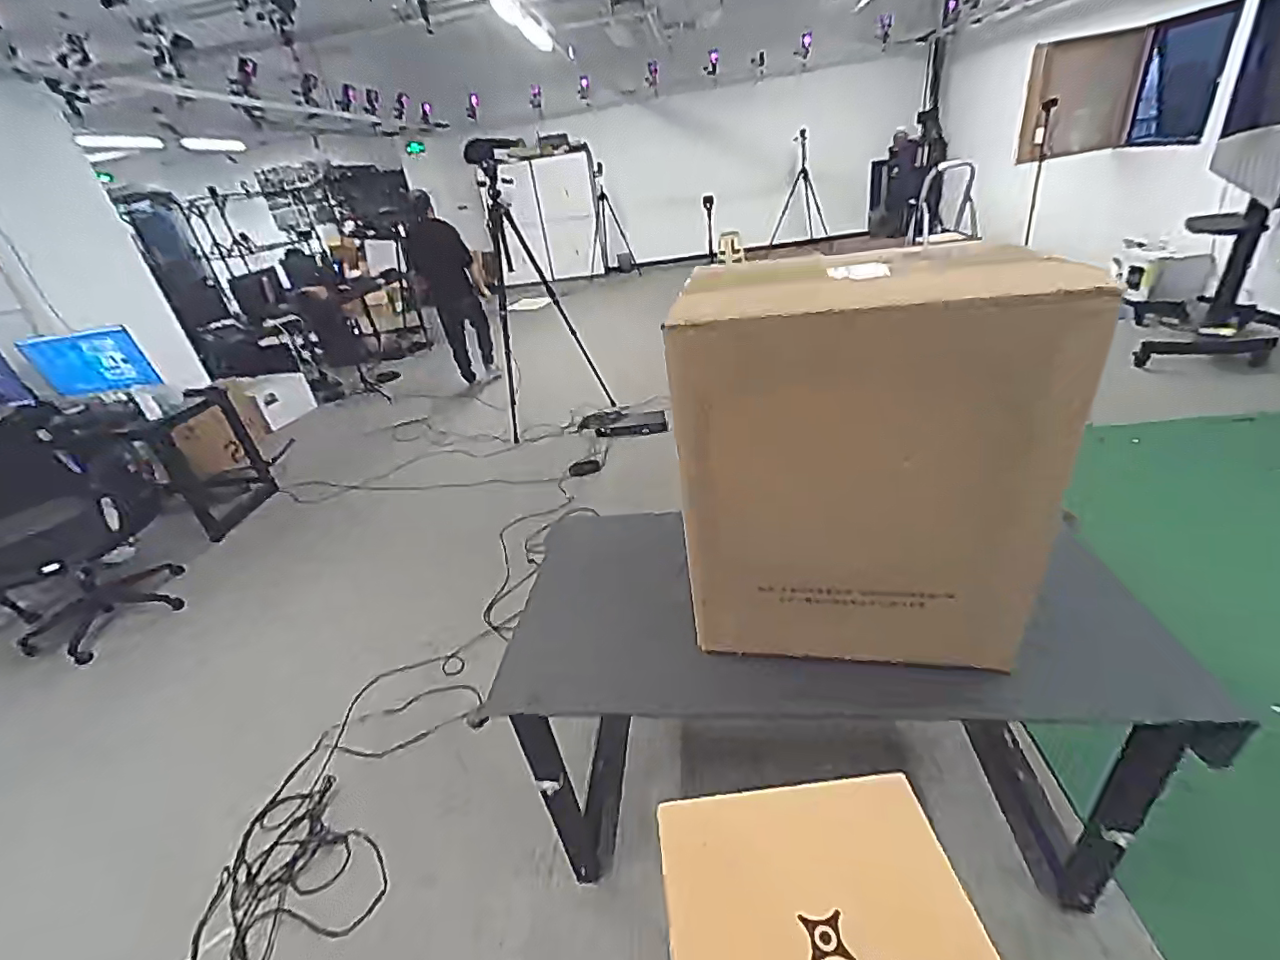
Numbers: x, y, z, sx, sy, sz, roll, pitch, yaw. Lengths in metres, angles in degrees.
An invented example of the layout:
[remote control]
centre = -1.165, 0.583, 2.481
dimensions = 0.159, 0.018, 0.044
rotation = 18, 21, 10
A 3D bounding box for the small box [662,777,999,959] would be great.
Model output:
[small box]
centre = 0.106, 0.315, 0.319
dimensions = 0.168, 0.176, 0.179
rotation = -7, 29, -1
